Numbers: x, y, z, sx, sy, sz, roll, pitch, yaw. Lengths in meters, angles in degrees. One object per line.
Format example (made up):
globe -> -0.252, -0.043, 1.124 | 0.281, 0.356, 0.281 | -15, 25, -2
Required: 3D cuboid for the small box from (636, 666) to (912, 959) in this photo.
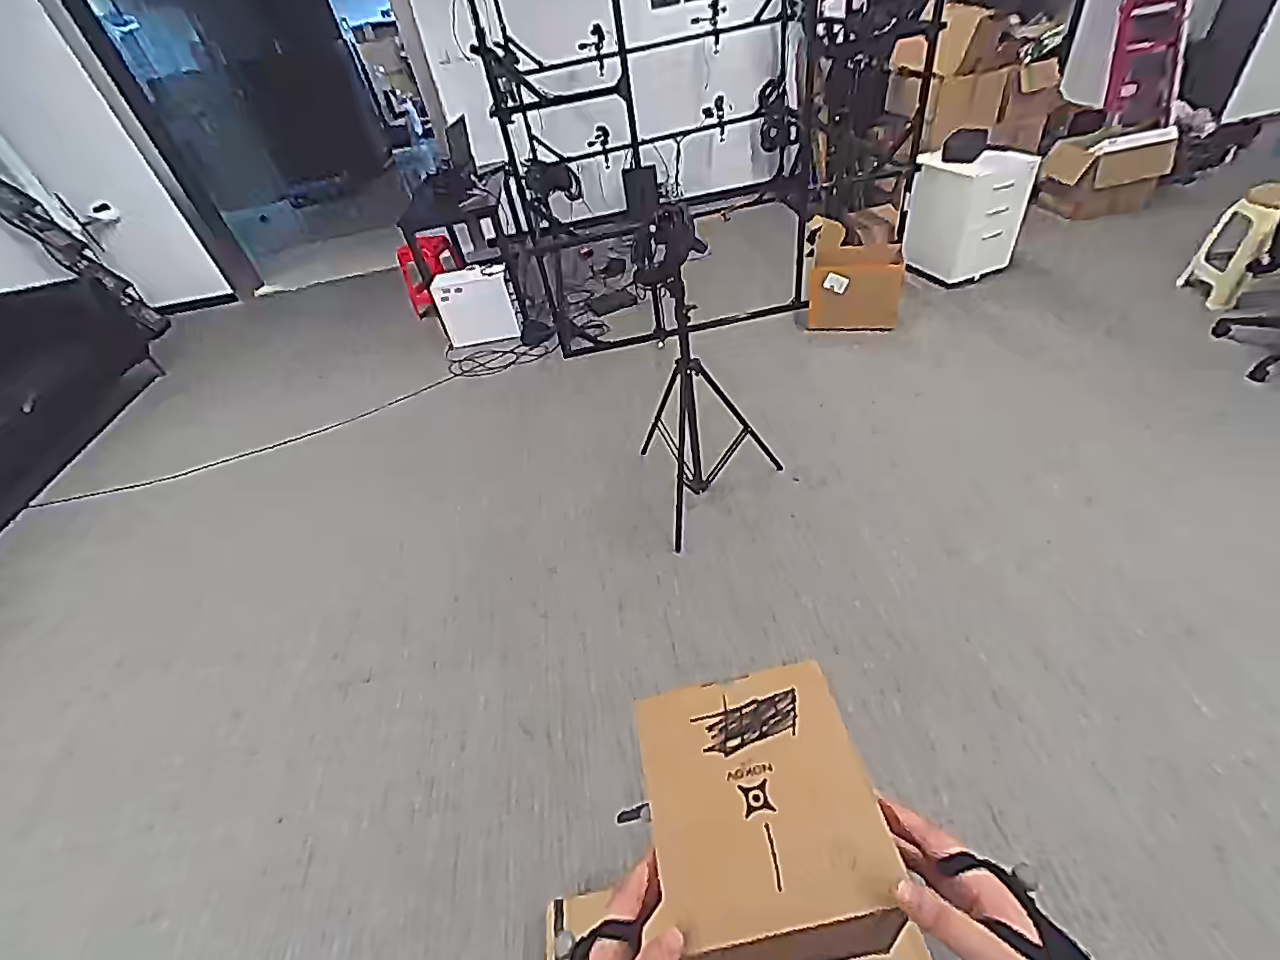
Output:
small box -> 0.099, 0.294, 0.462 | 0.168, 0.176, 0.179 | -13, 40, 1
